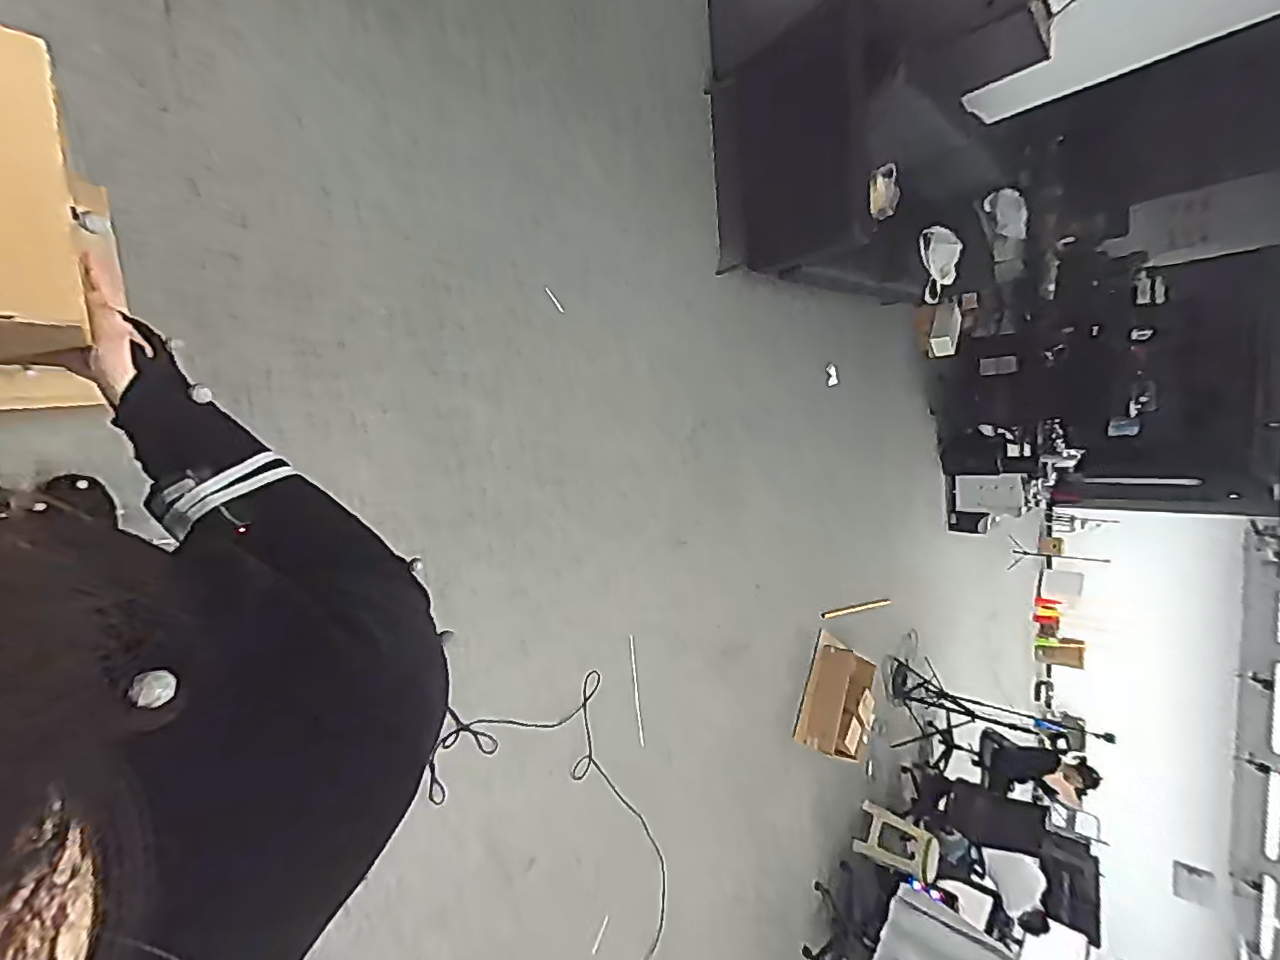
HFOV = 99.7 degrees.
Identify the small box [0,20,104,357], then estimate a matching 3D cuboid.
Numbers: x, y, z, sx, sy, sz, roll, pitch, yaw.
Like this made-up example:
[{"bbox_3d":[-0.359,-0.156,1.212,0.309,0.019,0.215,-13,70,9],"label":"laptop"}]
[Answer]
[{"bbox_3d":[-0.471,-0.184,0.347,0.168,0.176,0.179,-8,97,-44],"label":"small box"}]
